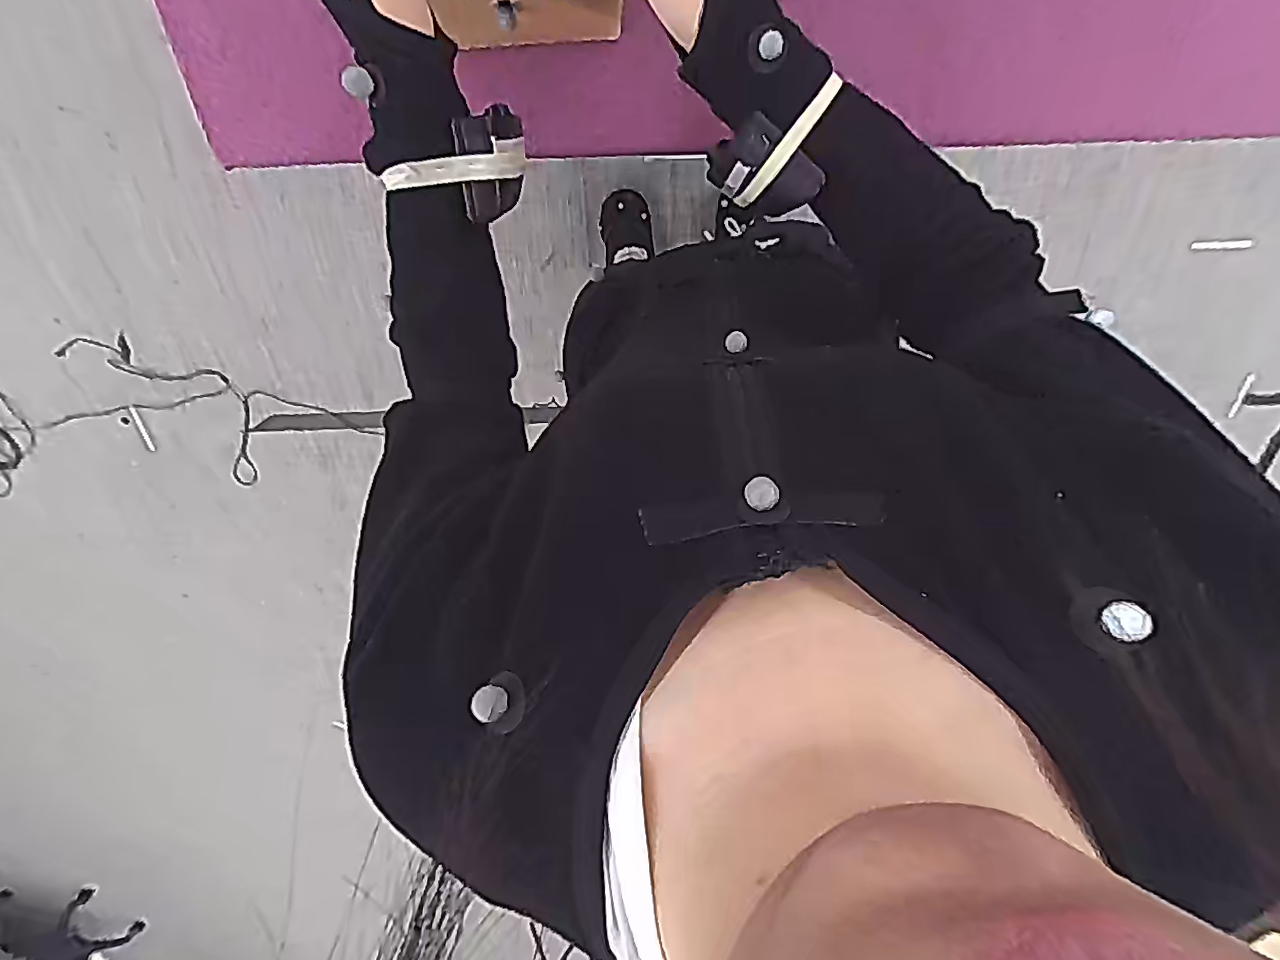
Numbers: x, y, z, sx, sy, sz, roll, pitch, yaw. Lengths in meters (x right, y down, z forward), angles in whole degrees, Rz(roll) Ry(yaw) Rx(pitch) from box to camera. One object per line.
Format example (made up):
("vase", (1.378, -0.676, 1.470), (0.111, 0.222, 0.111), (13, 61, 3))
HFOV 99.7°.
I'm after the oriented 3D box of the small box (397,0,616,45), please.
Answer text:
("small box", (-0.109, -0.475, 0.436), (0.179, 0.176, 0.168), (-4, 118, 0))
